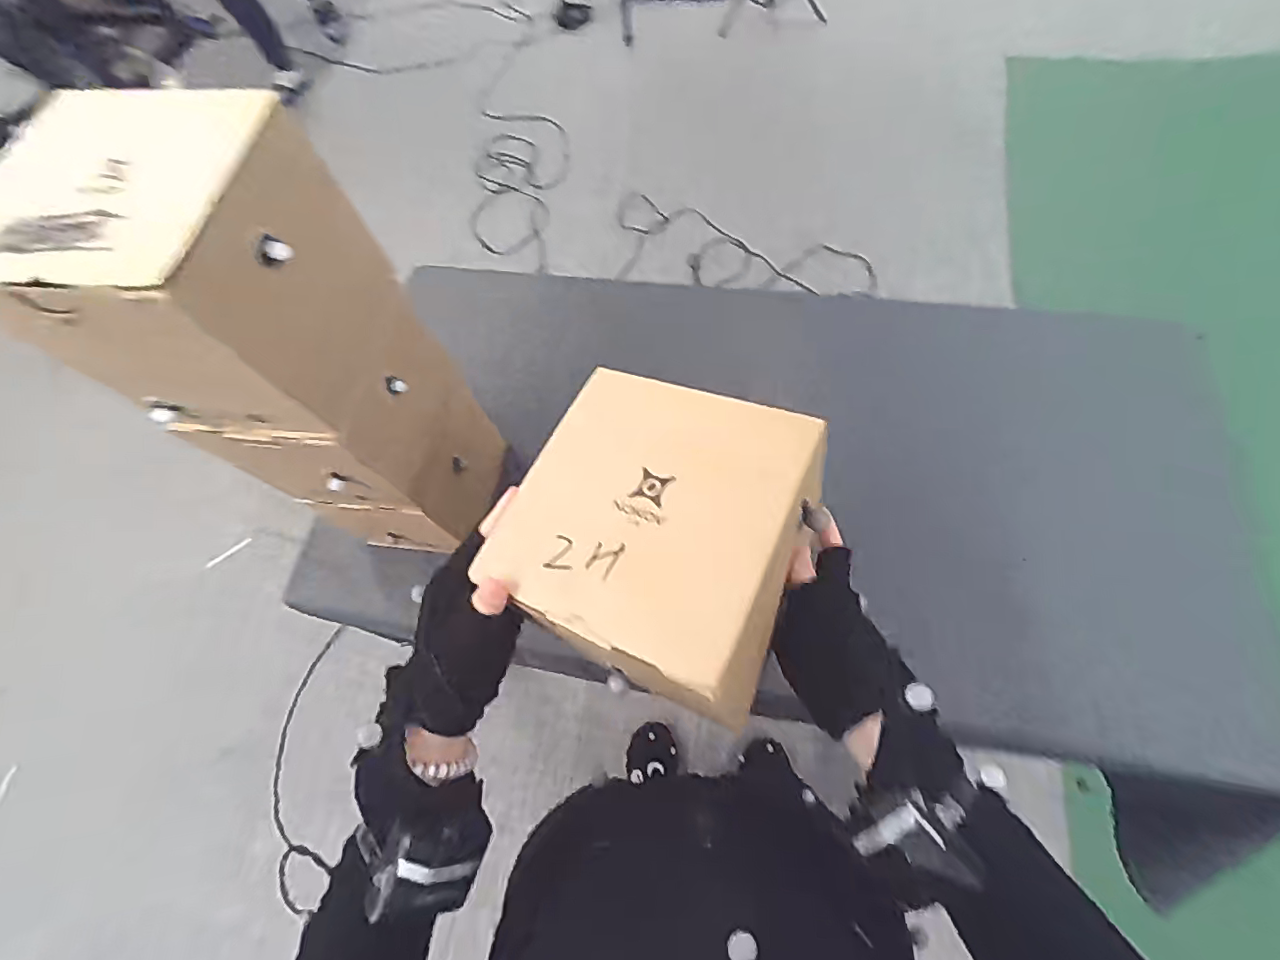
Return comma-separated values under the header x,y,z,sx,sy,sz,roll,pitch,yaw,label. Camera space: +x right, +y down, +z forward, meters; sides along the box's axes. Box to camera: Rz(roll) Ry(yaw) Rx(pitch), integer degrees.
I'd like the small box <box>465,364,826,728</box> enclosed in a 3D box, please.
x,y,z,sx,sy,sz,roll,pitch,yaw,label
0.019,0.051,0.388,0.168,0.176,0.179,19,67,24,small box

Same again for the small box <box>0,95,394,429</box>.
x,y,z,sx,sy,sz,roll,pitch,yaw,label
-0.321,-0.154,0.415,0.168,0.176,0.179,4,67,6,small box

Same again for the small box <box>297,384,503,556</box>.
x,y,z,sx,sy,sz,roll,pitch,yaw,label
-0.293,-0.014,0.710,0.168,0.176,0.179,5,67,8,small box

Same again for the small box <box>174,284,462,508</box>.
x,y,z,sx,sy,sz,roll,pitch,yaw,label
-0.307,-0.081,0.562,0.168,0.176,0.179,6,67,7,small box
